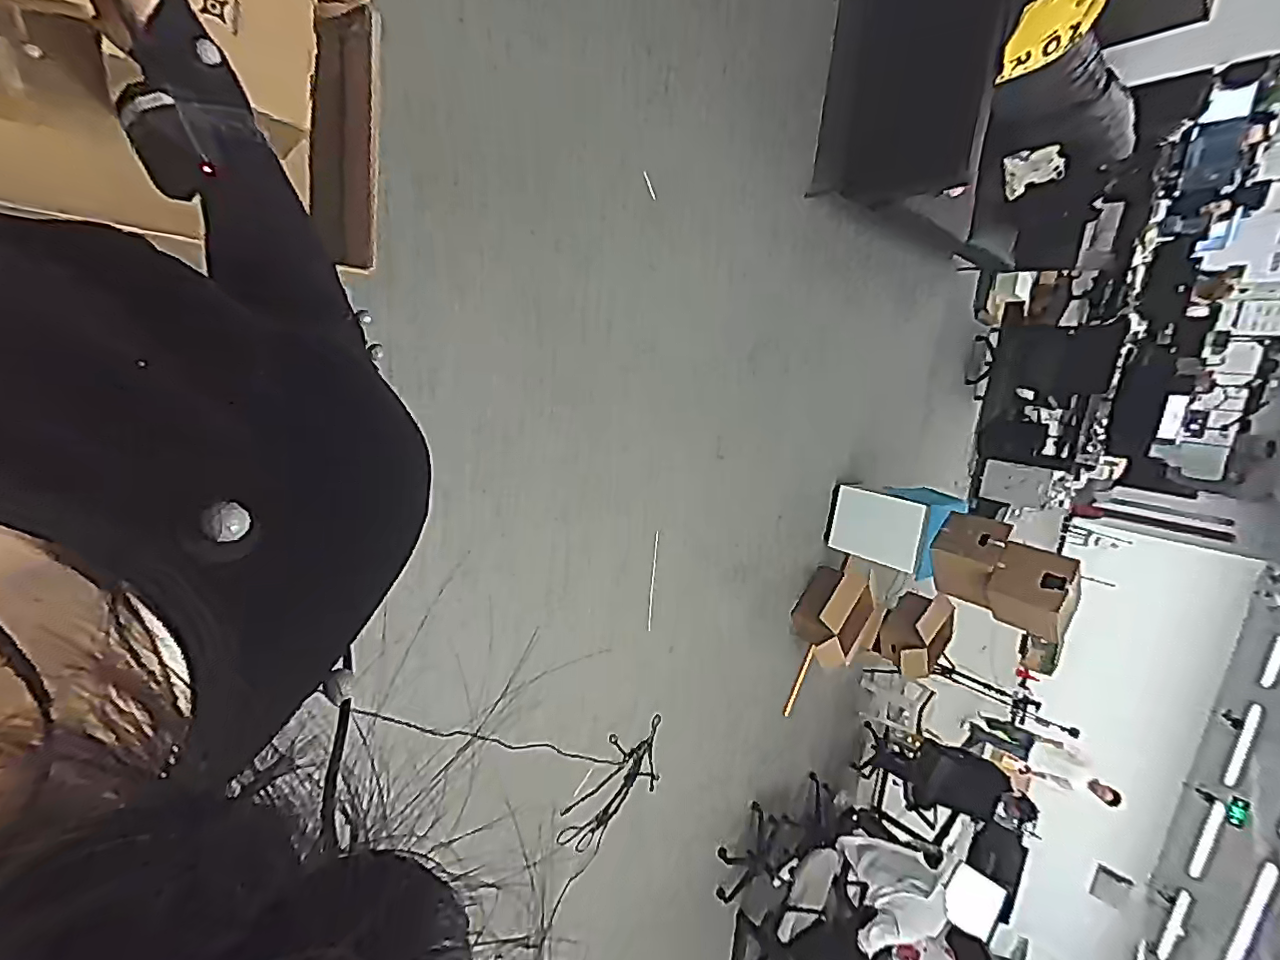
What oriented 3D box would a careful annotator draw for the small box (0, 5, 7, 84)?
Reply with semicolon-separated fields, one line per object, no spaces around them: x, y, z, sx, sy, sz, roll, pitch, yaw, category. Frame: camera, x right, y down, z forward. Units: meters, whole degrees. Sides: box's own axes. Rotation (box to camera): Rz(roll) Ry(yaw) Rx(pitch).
-0.660;-0.467;0.441;0.168;0.176;0.179;-4;106;-43;small box
